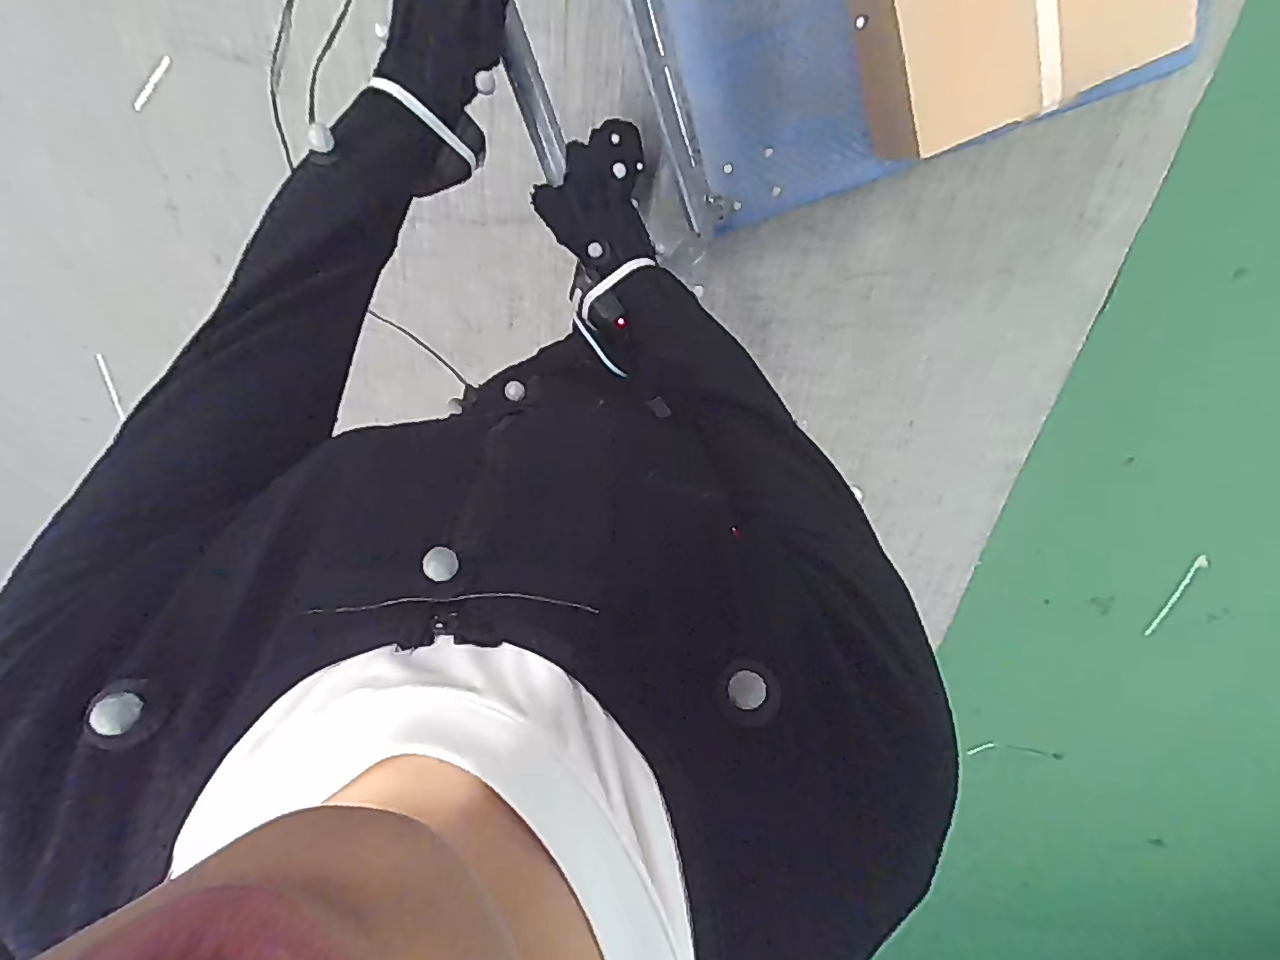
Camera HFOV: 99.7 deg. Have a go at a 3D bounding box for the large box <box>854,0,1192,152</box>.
[{"bbox_3d":[0.489,-0.746,0.762,0.320,0.320,0.408,-16,116,20],"label":"large box"}]
